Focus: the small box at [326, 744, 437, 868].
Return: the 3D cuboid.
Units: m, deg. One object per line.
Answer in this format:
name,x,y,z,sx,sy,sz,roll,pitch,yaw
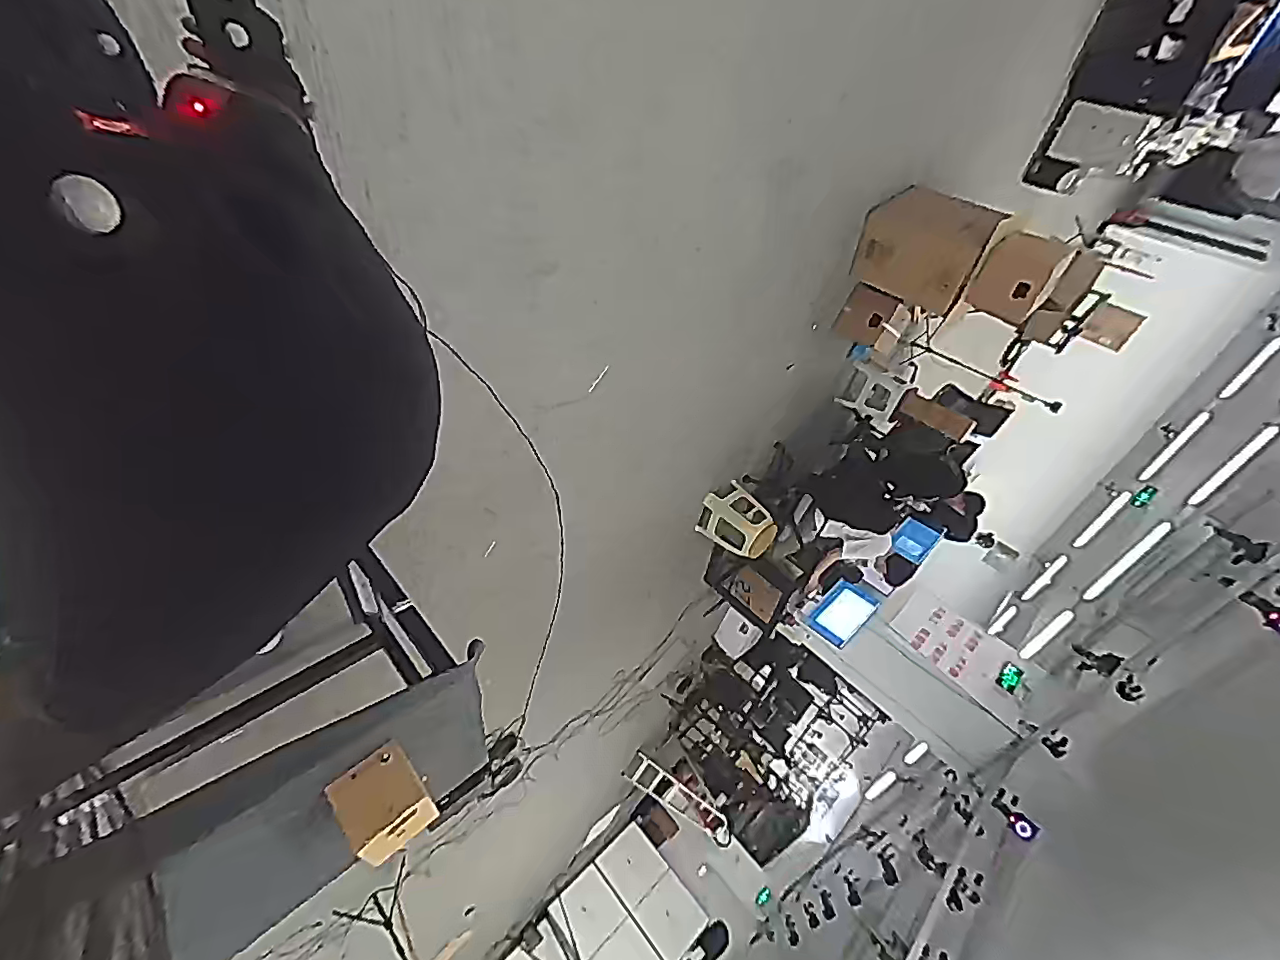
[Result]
small box,-0.611,0.765,1.282,0.168,0.176,0.179,-32,148,-32
